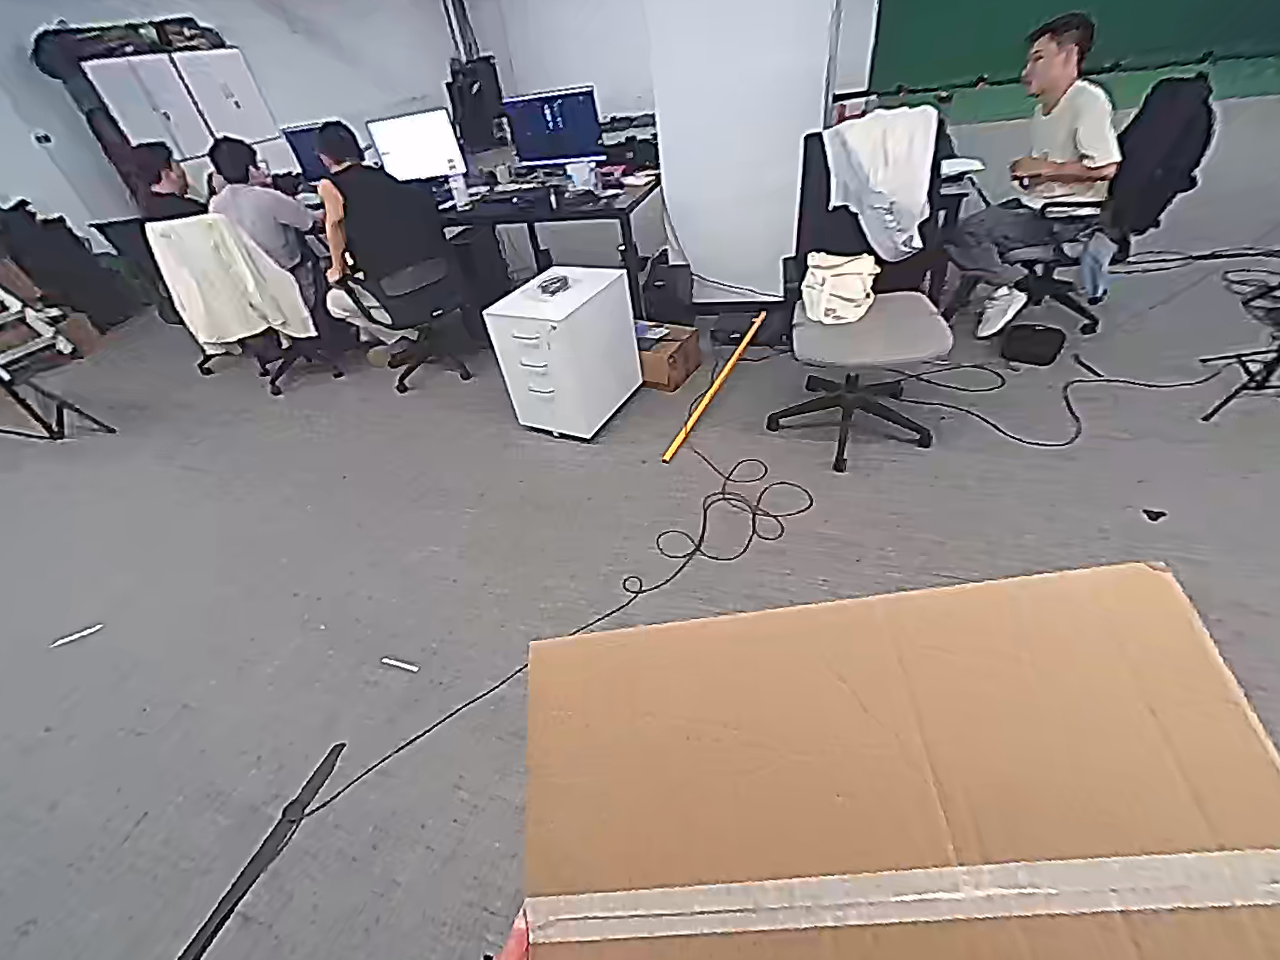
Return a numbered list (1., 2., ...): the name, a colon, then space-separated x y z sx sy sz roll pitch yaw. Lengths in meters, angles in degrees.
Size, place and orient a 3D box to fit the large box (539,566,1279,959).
1. large box: 0.163 0.289 0.420 0.408 0.320 0.320 -10 62 8
